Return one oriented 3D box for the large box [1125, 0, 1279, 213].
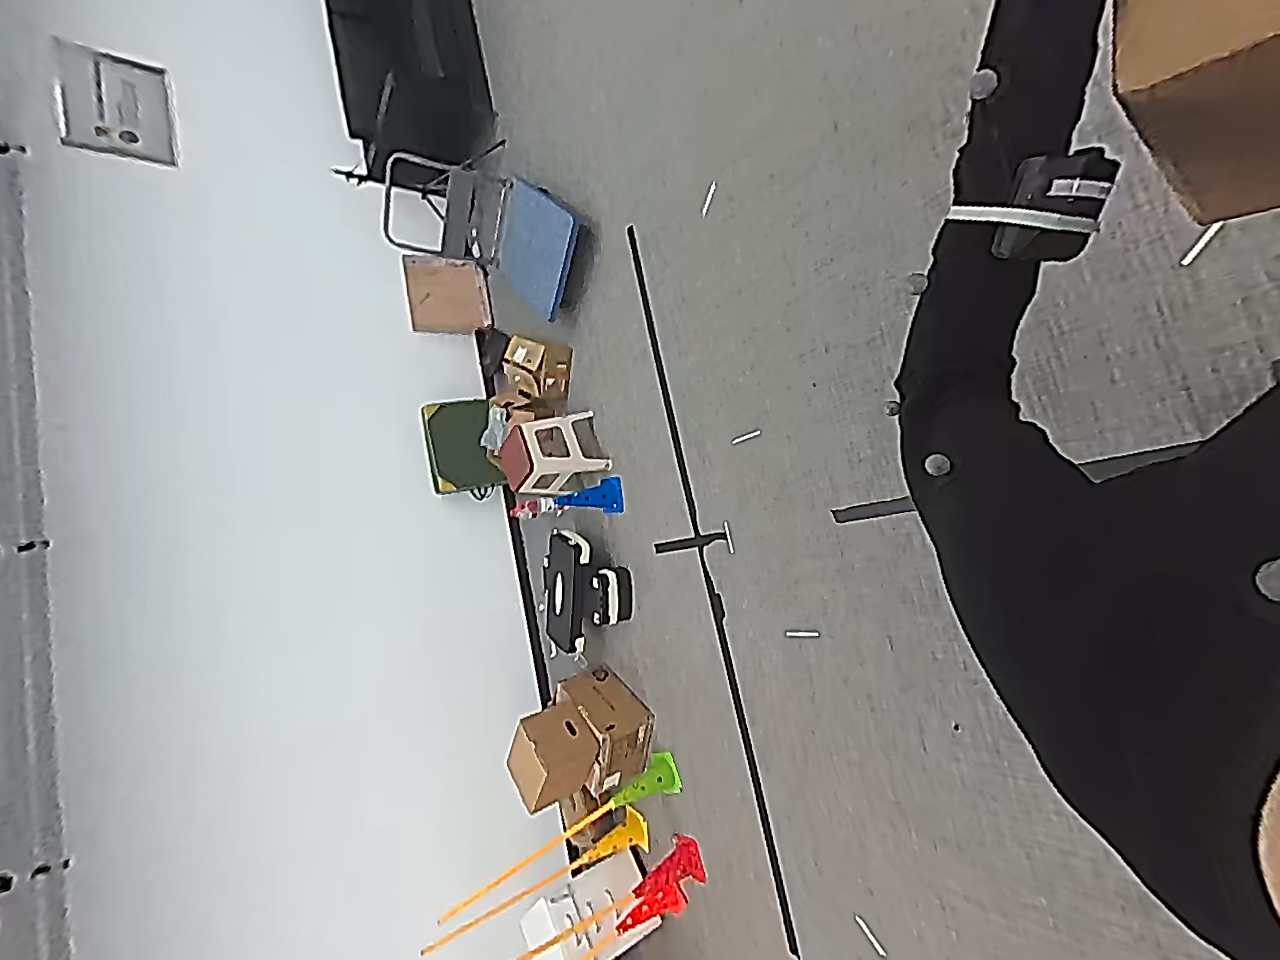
[{"bbox_3d":[0.523,-0.387,0.253,0.408,0.320,0.320,3,95,51],"label":"large box"}]
